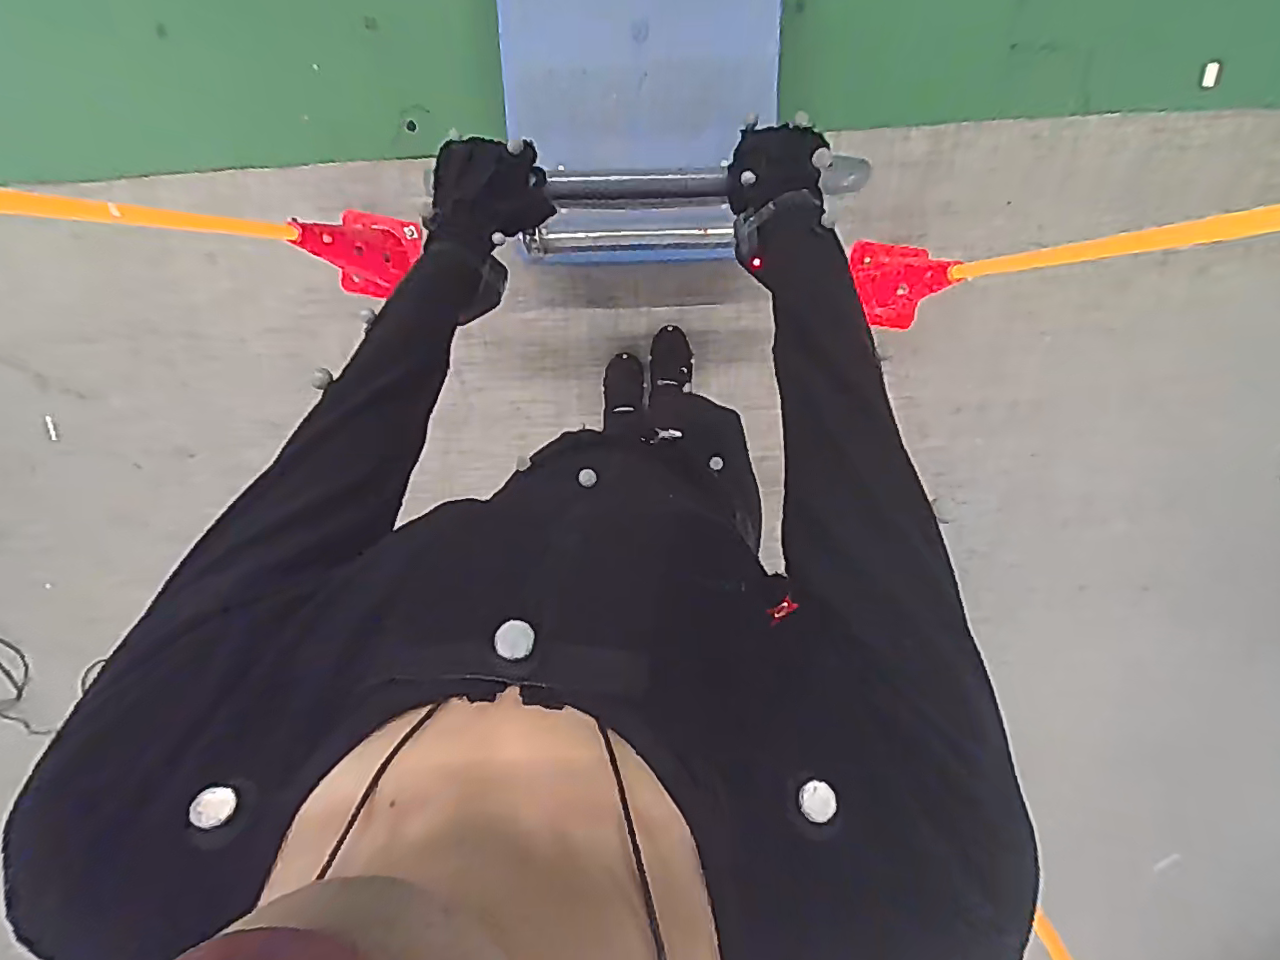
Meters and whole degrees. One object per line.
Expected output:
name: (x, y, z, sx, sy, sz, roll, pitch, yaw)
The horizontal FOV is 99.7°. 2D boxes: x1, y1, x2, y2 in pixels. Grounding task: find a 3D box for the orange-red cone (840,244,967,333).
orange-red cone: (0.621, -0.442, 1.215, 0.198, 0.360, 0.199, 8, 105, -1)
